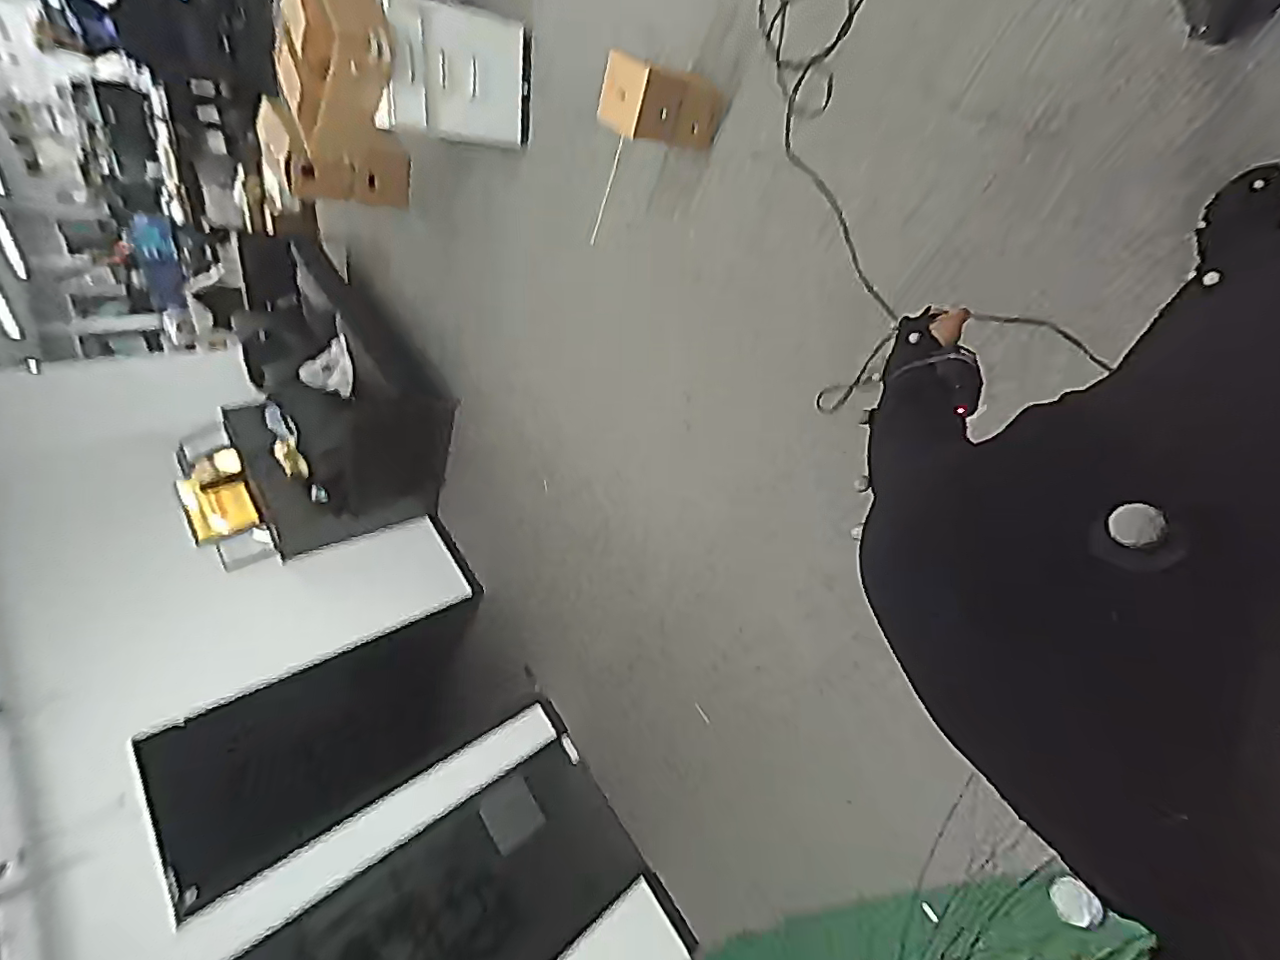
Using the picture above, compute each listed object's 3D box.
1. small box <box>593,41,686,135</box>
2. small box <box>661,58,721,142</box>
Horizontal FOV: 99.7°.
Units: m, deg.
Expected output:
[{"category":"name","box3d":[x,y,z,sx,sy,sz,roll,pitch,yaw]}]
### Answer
[{"category":"small box","box3d":[0.000,-1.098,1.524,0.179,0.176,0.168,47,136,26]},{"category":"small box","box3d":[0.114,-1.146,1.634,0.179,0.176,0.168,48,137,25]}]
